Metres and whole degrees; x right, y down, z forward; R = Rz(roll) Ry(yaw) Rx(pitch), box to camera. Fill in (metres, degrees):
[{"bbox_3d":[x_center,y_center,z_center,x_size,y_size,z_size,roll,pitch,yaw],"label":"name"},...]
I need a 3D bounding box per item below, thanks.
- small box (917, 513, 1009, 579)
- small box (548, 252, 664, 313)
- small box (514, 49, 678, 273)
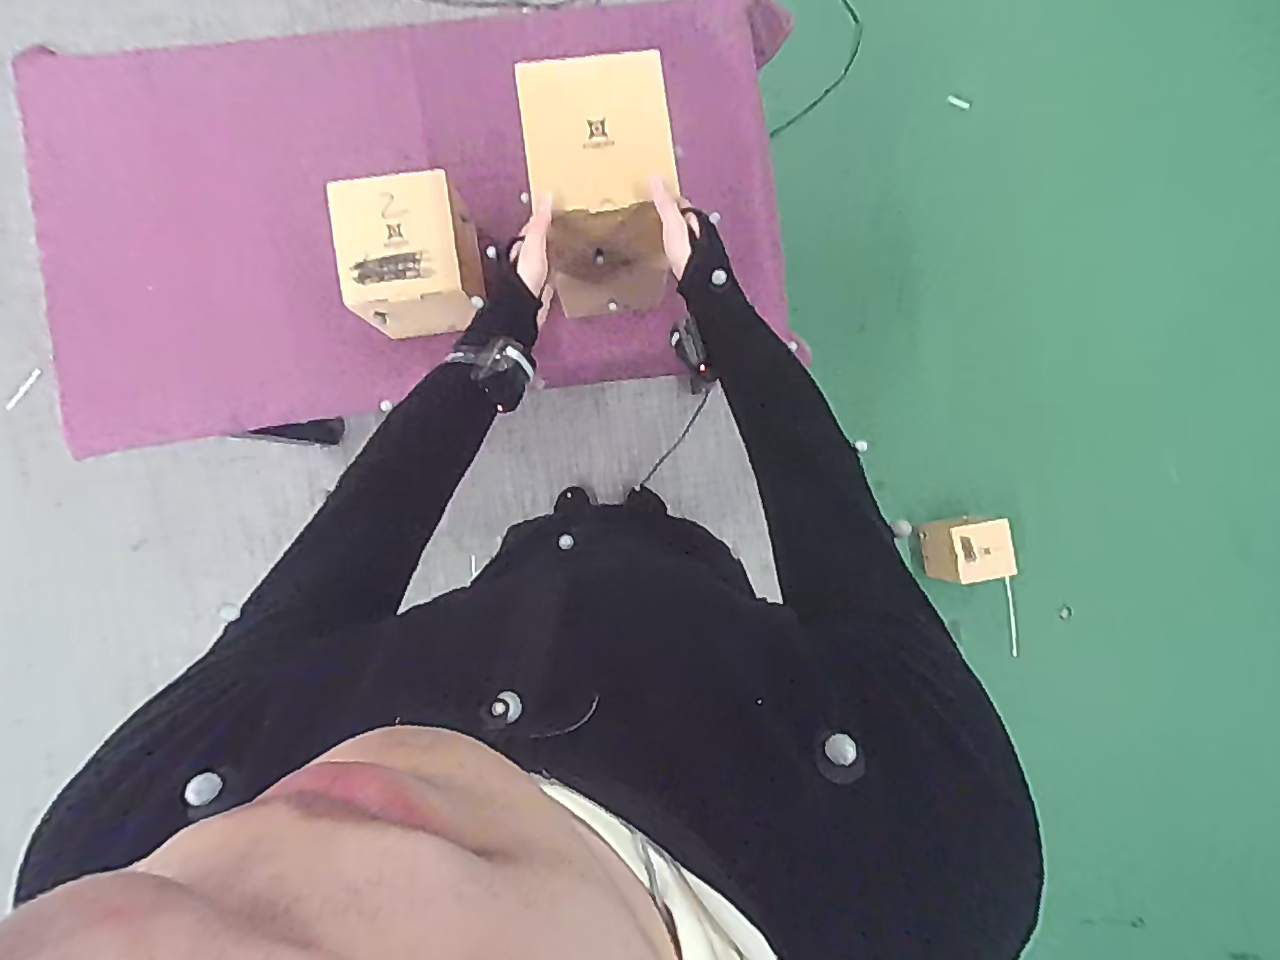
[{"bbox_3d":[0.960,0.193,1.627,0.179,0.176,0.168,-9,90,-4],"label":"small box"},{"bbox_3d":[-0.061,-0.379,0.841,0.168,0.176,0.179,-8,89,-2],"label":"small box"},{"bbox_3d":[-0.054,-0.386,0.679,0.168,0.176,0.179,-8,90,-3],"label":"small box"}]
